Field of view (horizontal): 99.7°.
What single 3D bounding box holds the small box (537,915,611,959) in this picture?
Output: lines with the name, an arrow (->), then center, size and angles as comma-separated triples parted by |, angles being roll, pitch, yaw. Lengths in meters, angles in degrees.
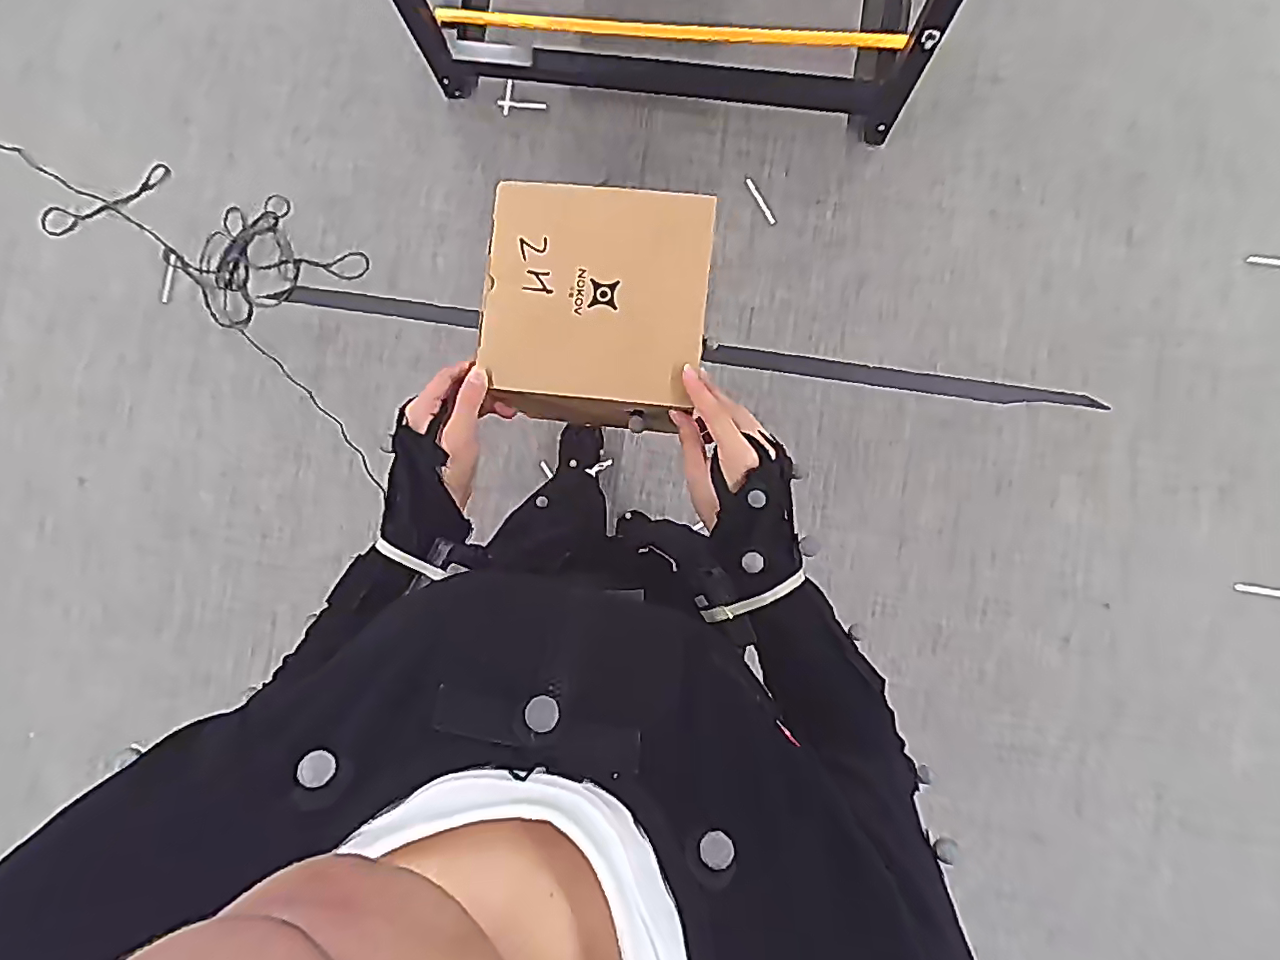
small box -> -0.165, 1.171, 1.259 | 0.168, 0.176, 0.179 | 10, 89, 4

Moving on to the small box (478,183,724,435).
small box -> -0.025, -0.138, 0.496 | 0.179, 0.176, 0.168 | 7, 87, 5
